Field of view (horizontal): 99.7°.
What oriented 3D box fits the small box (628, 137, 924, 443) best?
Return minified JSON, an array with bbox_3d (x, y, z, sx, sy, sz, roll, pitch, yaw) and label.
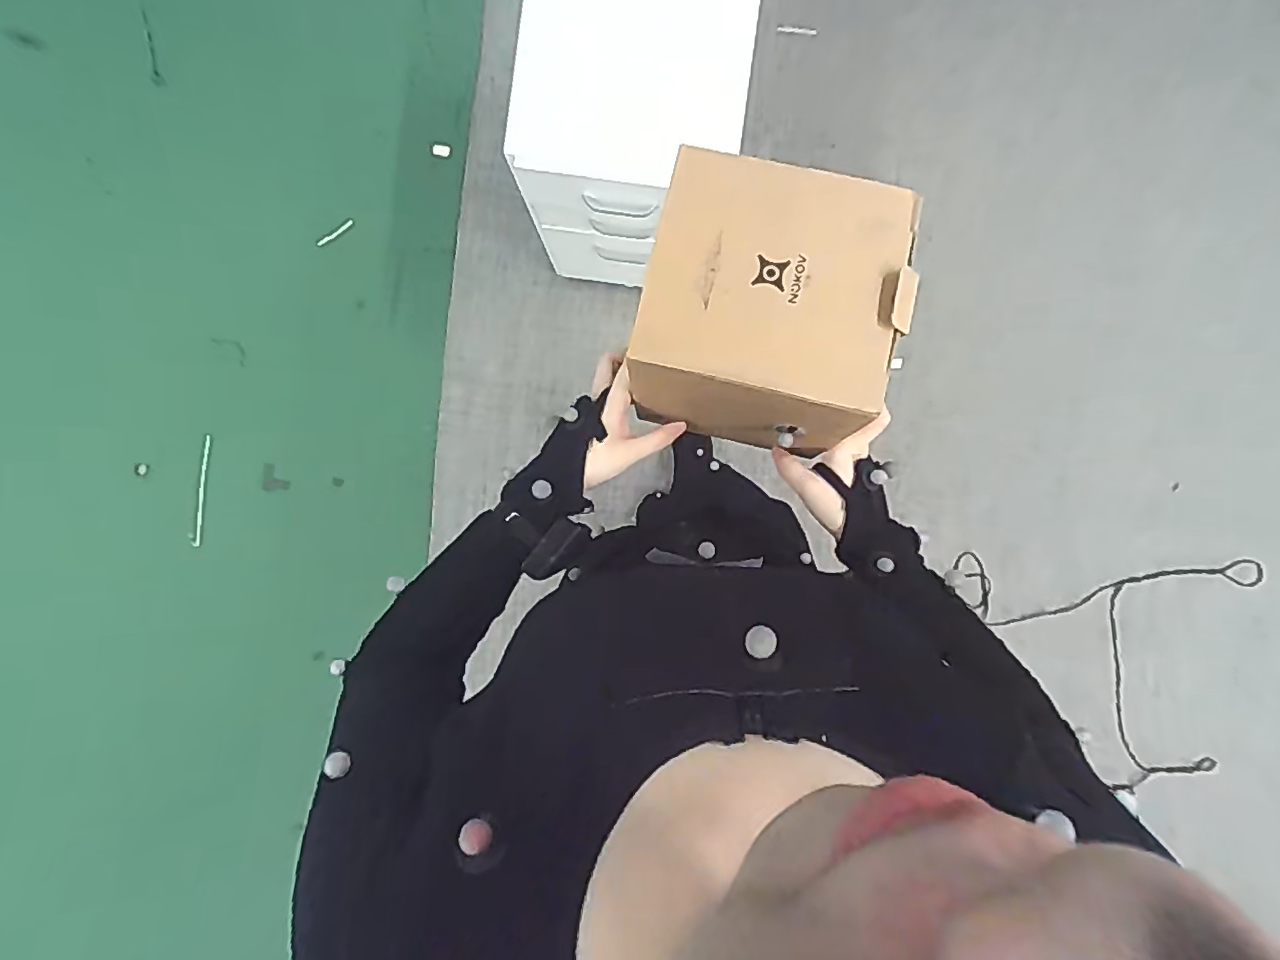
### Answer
[{"bbox_3d":[0.097,-0.135,0.447,0.179,0.176,0.168,13,83,4],"label":"small box"}]
